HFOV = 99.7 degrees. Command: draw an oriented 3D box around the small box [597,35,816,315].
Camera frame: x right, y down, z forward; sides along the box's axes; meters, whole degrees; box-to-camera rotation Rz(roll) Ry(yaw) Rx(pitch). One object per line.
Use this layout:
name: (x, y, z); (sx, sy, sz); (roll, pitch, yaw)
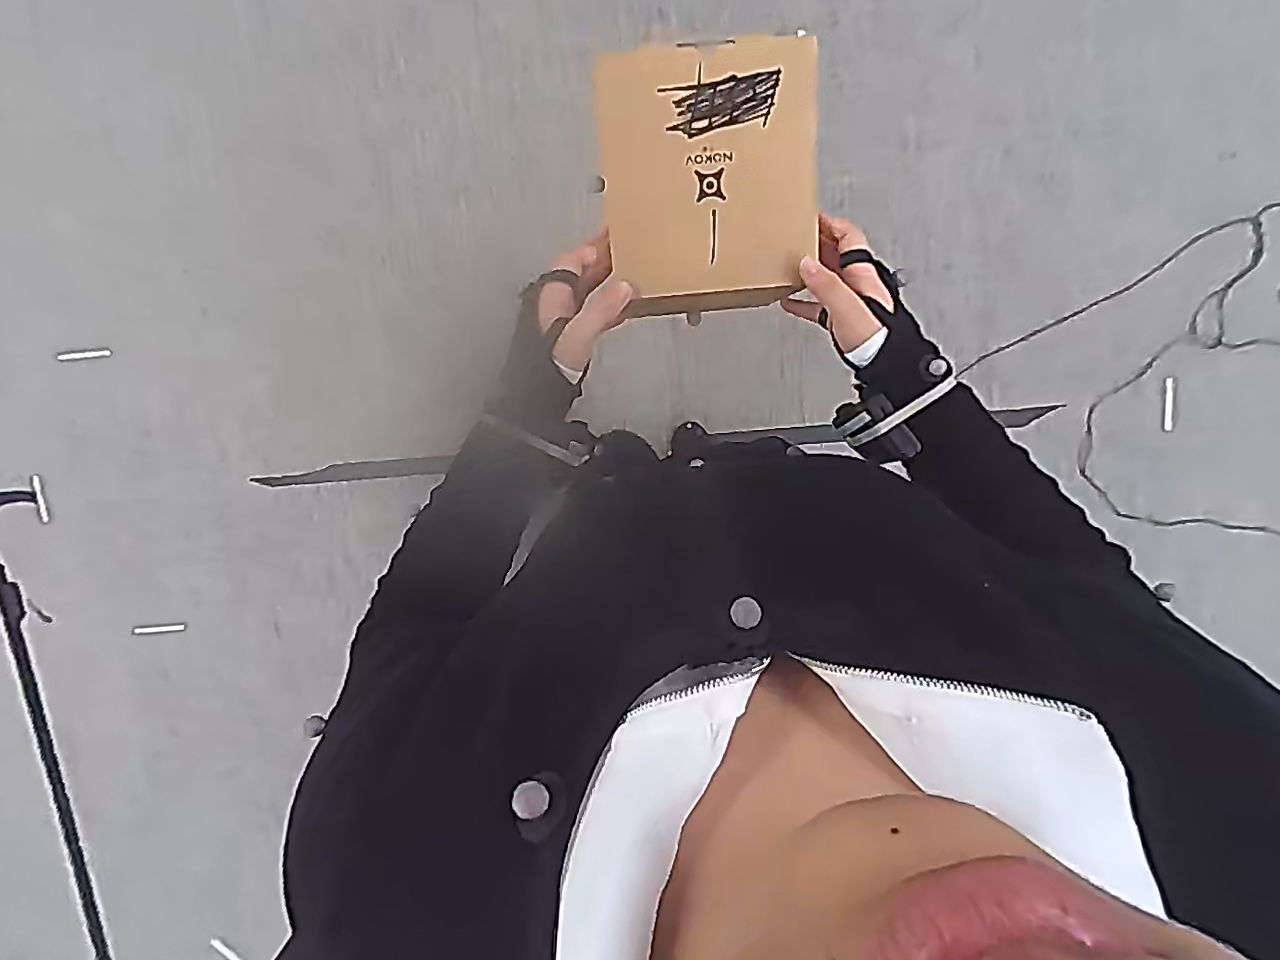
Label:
small box: (0.052, -0.255, 0.495); (0.168, 0.176, 0.179); (-5, 102, 1)
